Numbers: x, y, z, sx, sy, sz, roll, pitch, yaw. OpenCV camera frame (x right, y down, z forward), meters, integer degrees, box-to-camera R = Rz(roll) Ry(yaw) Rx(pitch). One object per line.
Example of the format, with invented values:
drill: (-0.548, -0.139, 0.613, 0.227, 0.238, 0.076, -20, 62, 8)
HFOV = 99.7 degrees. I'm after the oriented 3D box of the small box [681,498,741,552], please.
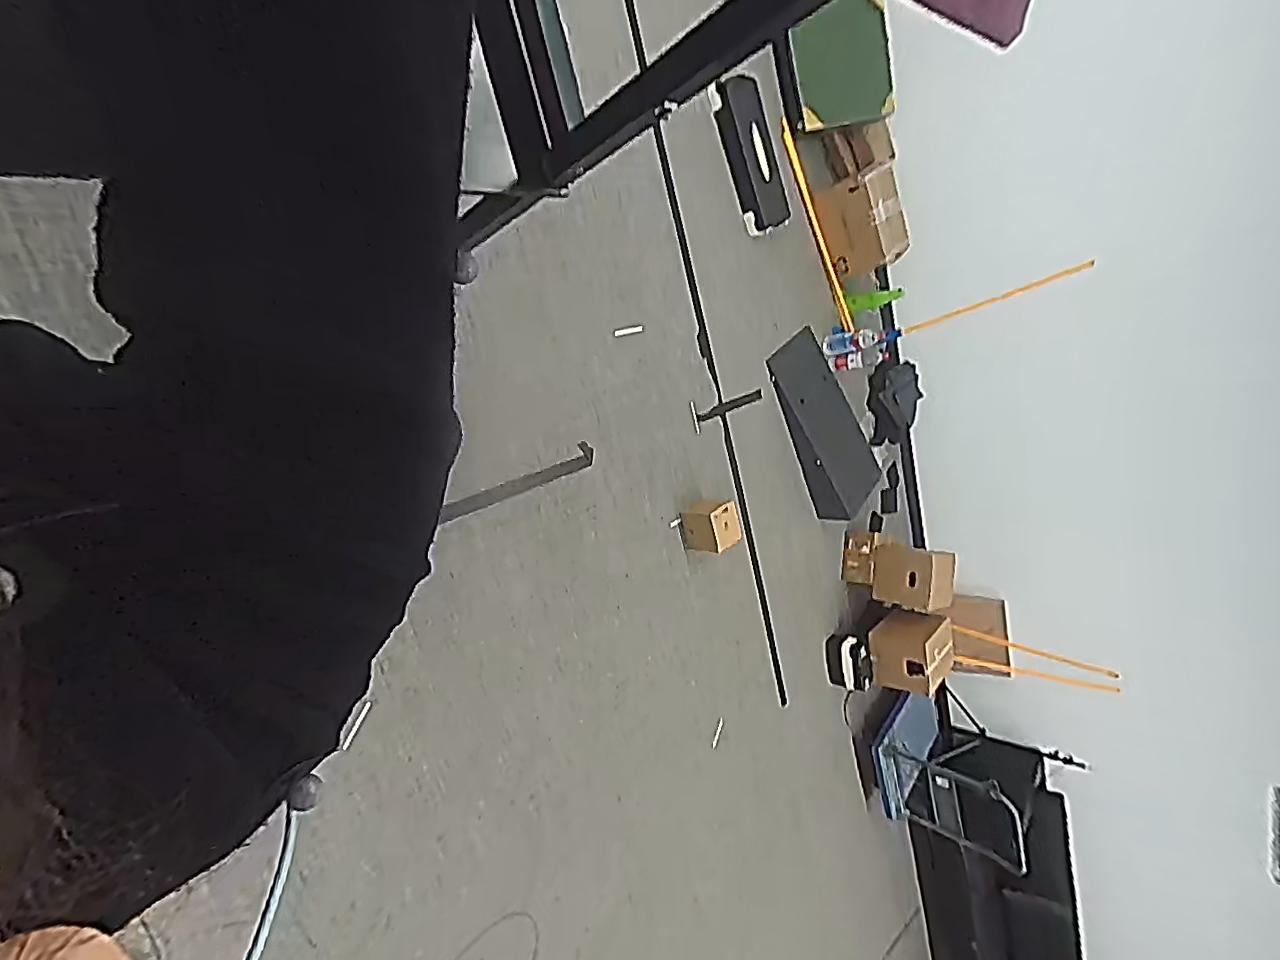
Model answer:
small box: (0.299, 0.186, 2.282, 0.168, 0.176, 0.179, -26, 108, -41)
